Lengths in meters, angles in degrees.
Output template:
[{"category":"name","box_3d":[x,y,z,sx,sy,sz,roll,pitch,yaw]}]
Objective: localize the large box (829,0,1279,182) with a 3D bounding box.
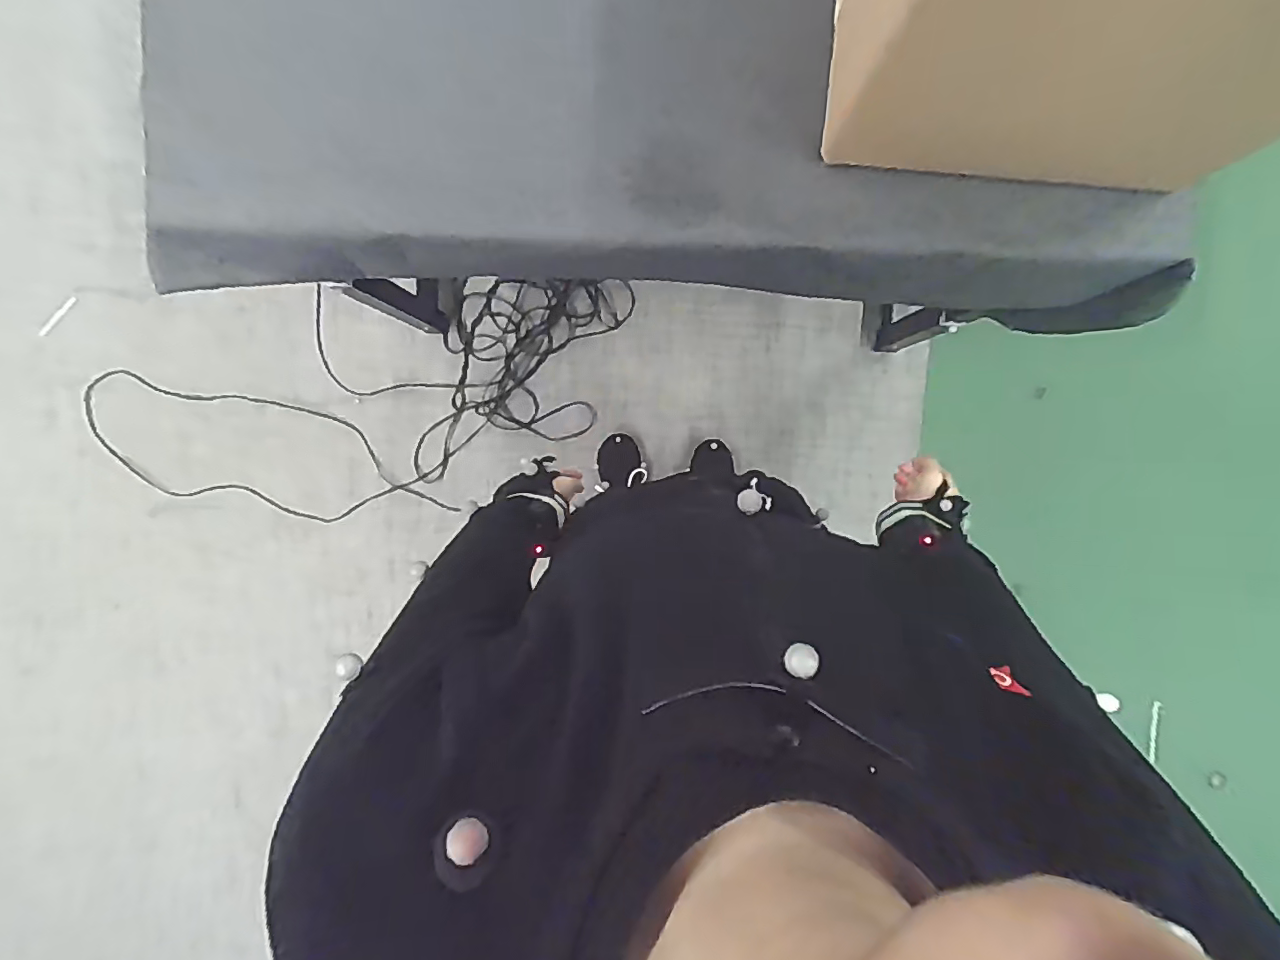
[{"category":"large box","box_3d":[0.412,-0.487,0.451,0.408,0.320,0.320,5,94,0]}]
